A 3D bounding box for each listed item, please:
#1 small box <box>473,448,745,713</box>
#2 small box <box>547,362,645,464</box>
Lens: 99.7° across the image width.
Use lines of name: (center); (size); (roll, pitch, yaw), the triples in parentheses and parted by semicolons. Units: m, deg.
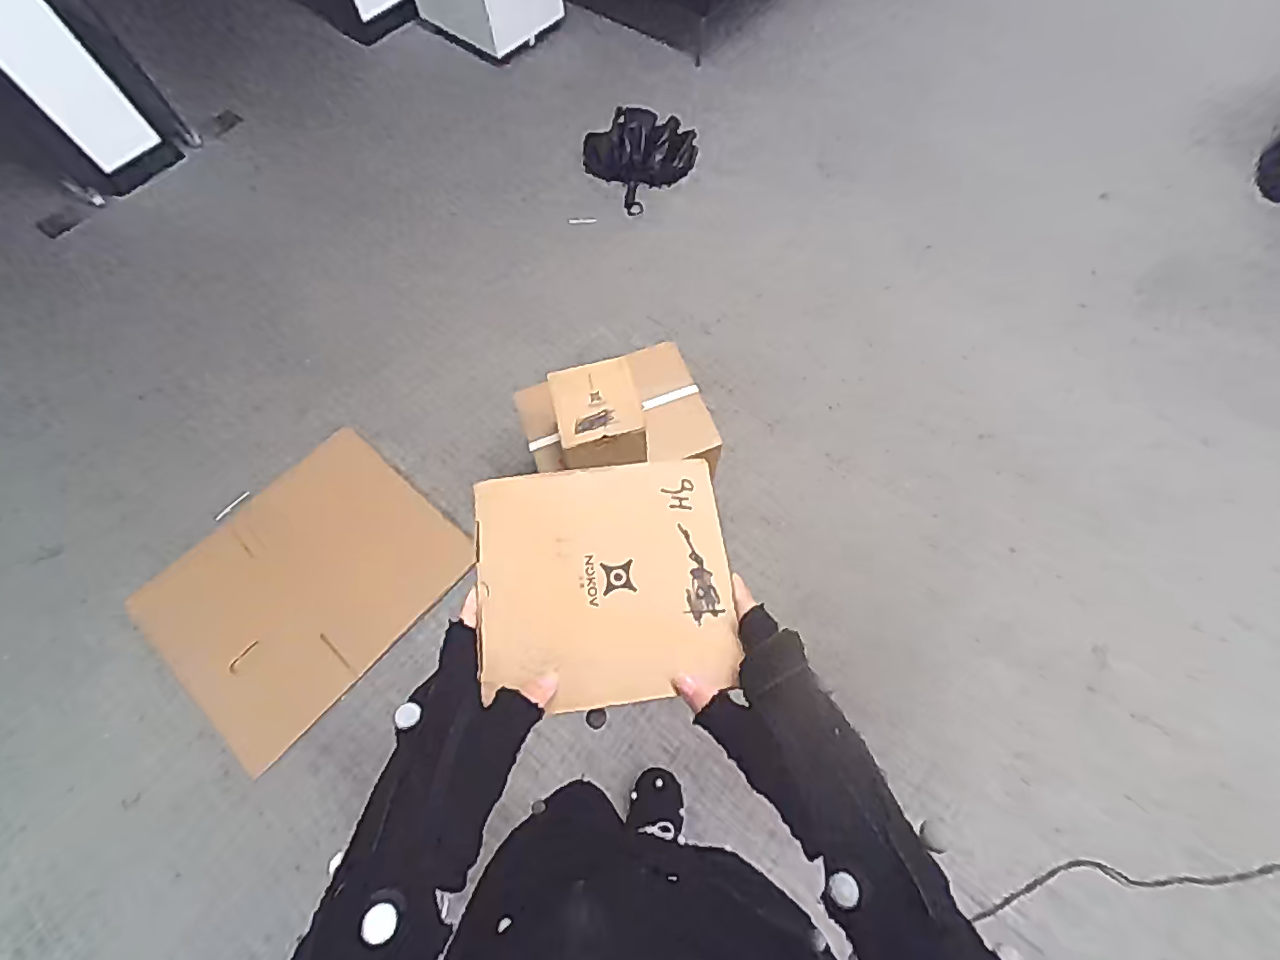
small box: (-0.031, 0.093, 0.457); (0.179, 0.176, 0.168); (-8, 66, -8)
small box: (-0.086, -0.112, 1.130); (0.168, 0.176, 0.179); (-14, 66, -5)
